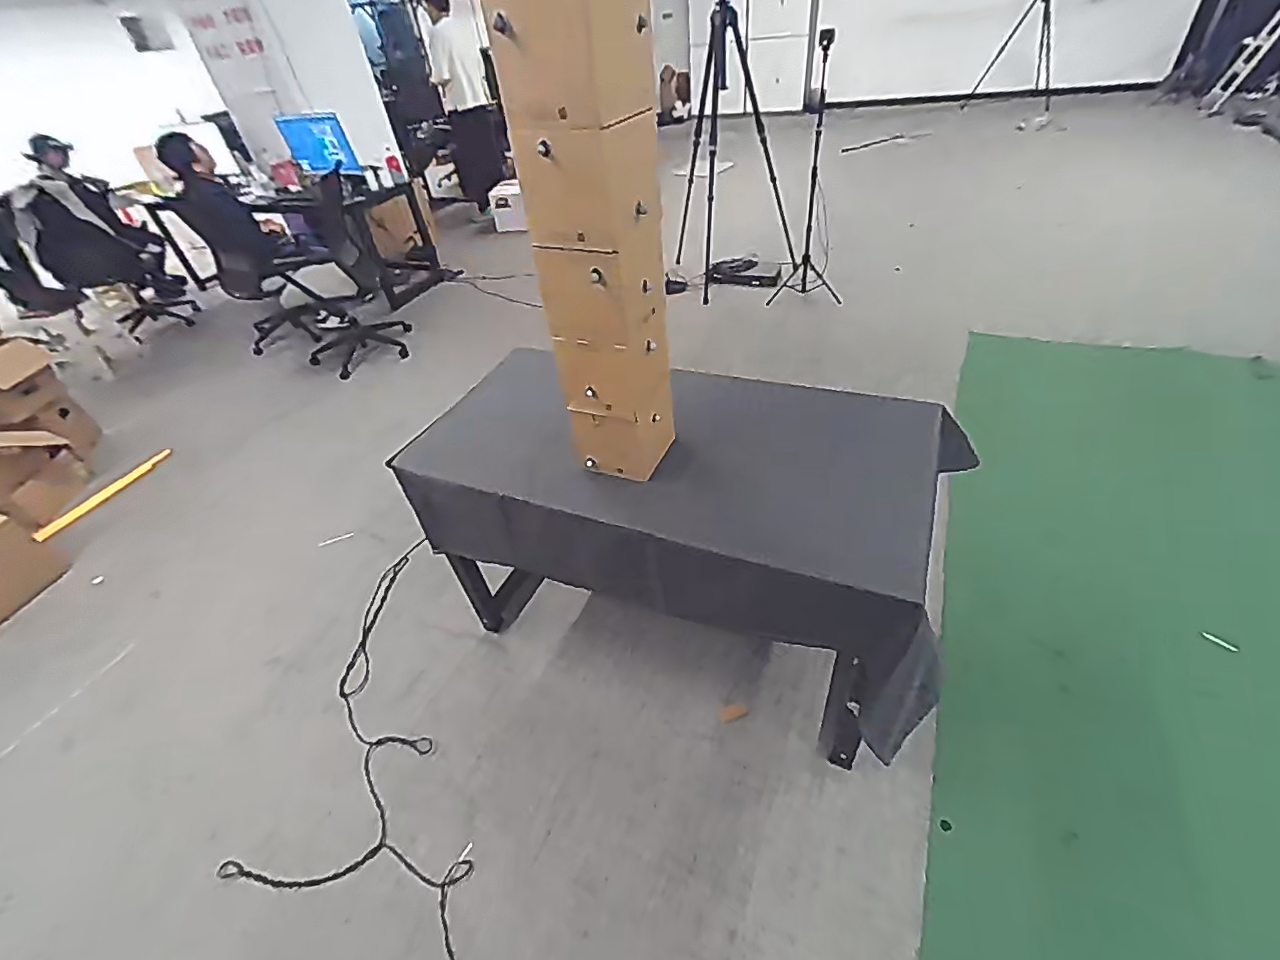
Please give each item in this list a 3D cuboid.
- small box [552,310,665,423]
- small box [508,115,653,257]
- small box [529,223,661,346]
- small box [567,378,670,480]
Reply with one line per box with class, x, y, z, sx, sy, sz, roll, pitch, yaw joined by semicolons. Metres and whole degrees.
small box;-0.055;-0.243;1.108;0.168;0.176;0.179;12;45;22
small box;-0.086;-0.485;0.888;0.168;0.176;0.179;15;46;24
small box;-0.072;-0.363;0.997;0.179;0.176;0.168;14;45;23
small box;-0.038;-0.122;1.215;0.168;0.176;0.179;12;44;22
